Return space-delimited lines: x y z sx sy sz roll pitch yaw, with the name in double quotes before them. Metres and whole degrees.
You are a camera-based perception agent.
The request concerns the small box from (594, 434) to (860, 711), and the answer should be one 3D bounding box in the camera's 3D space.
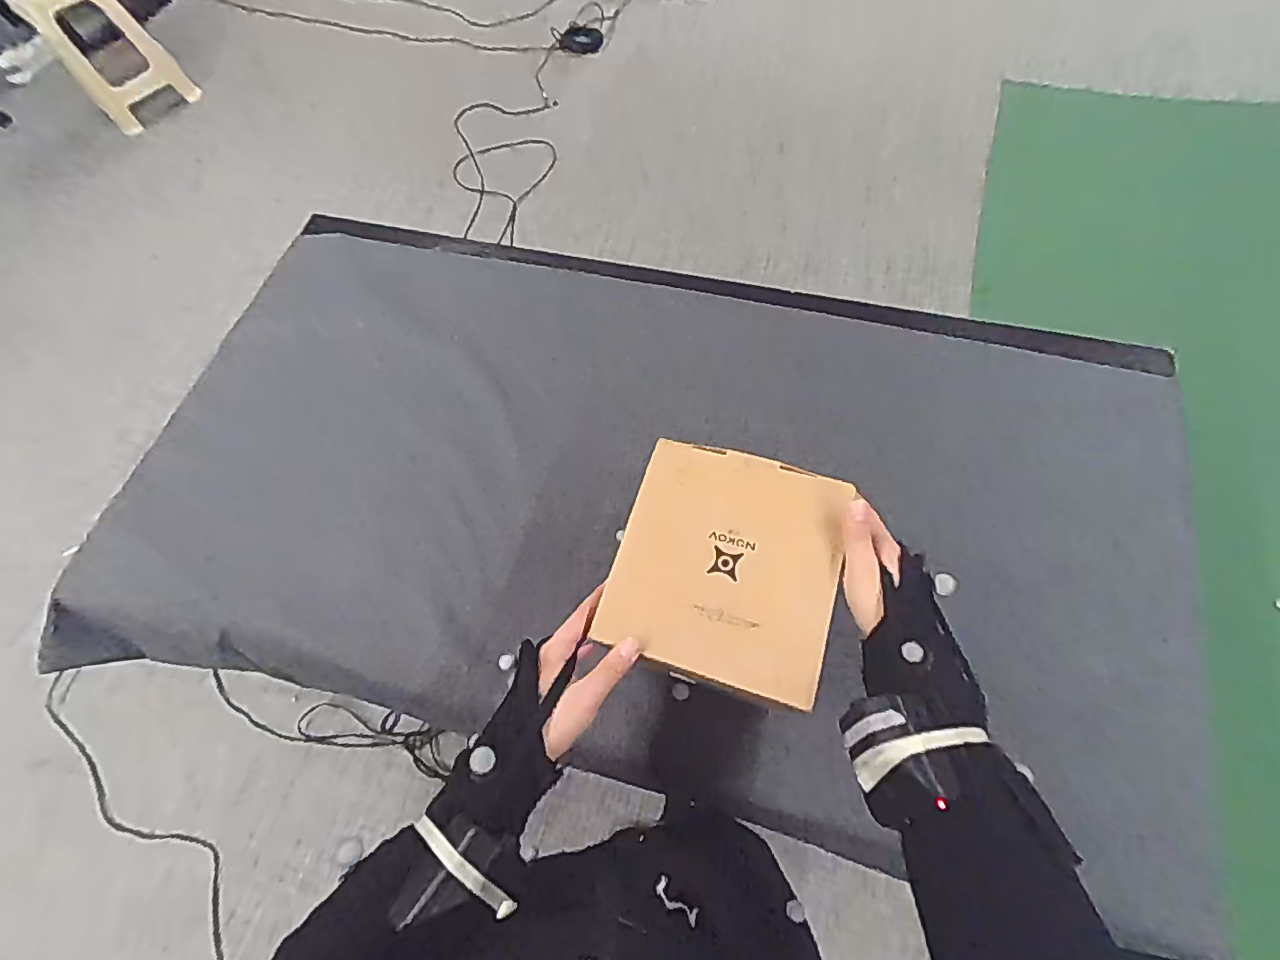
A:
"small box" 0.077 0.088 0.475 0.168 0.176 0.179 13 70 14
